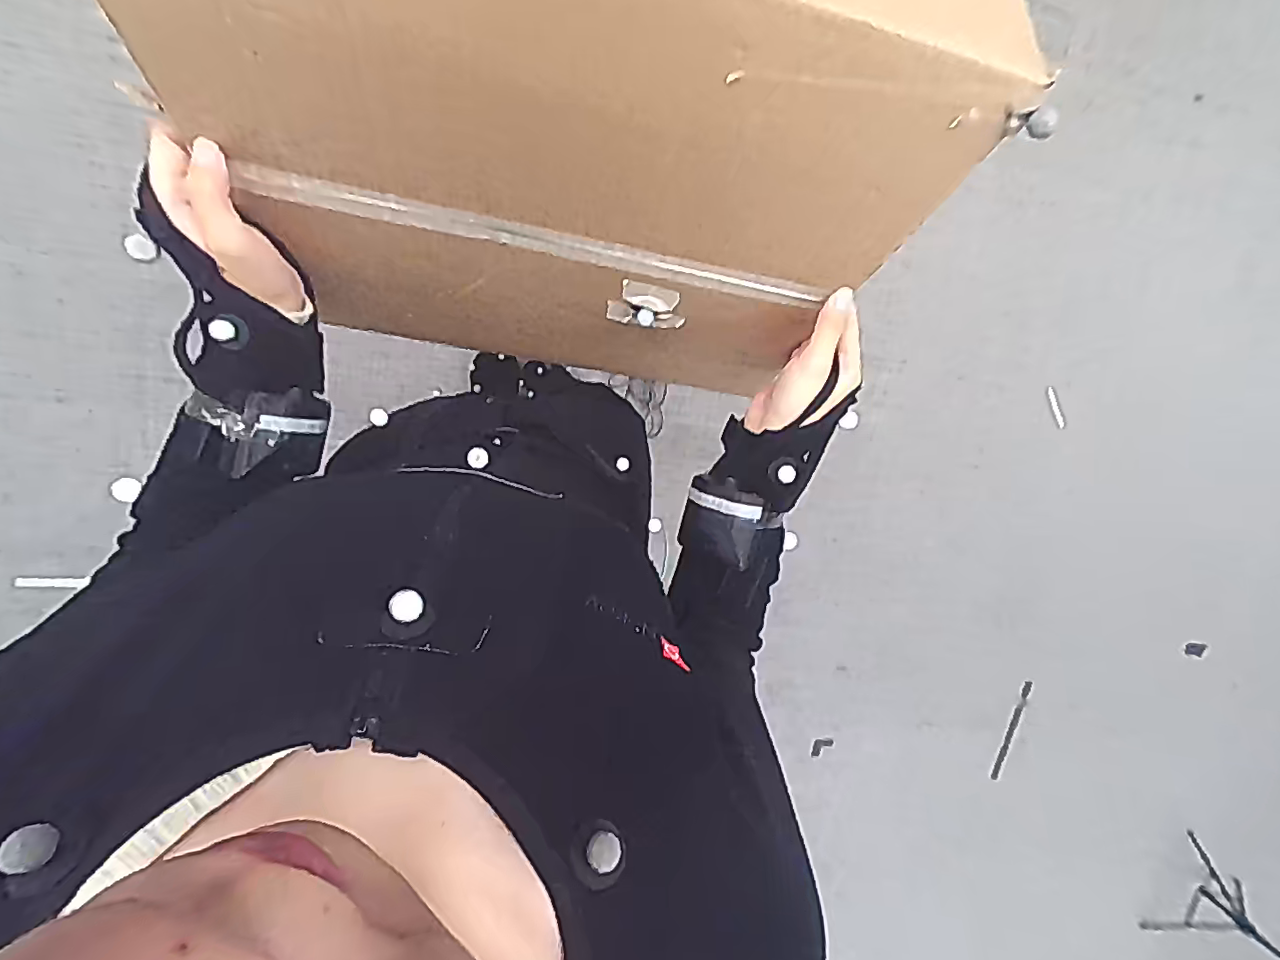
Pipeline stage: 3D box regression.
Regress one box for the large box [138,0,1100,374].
[{"bbox_3d":[-0.031,-0.306,0.371,0.408,0.320,0.320,6,72,-12],"label":"large box"}]
